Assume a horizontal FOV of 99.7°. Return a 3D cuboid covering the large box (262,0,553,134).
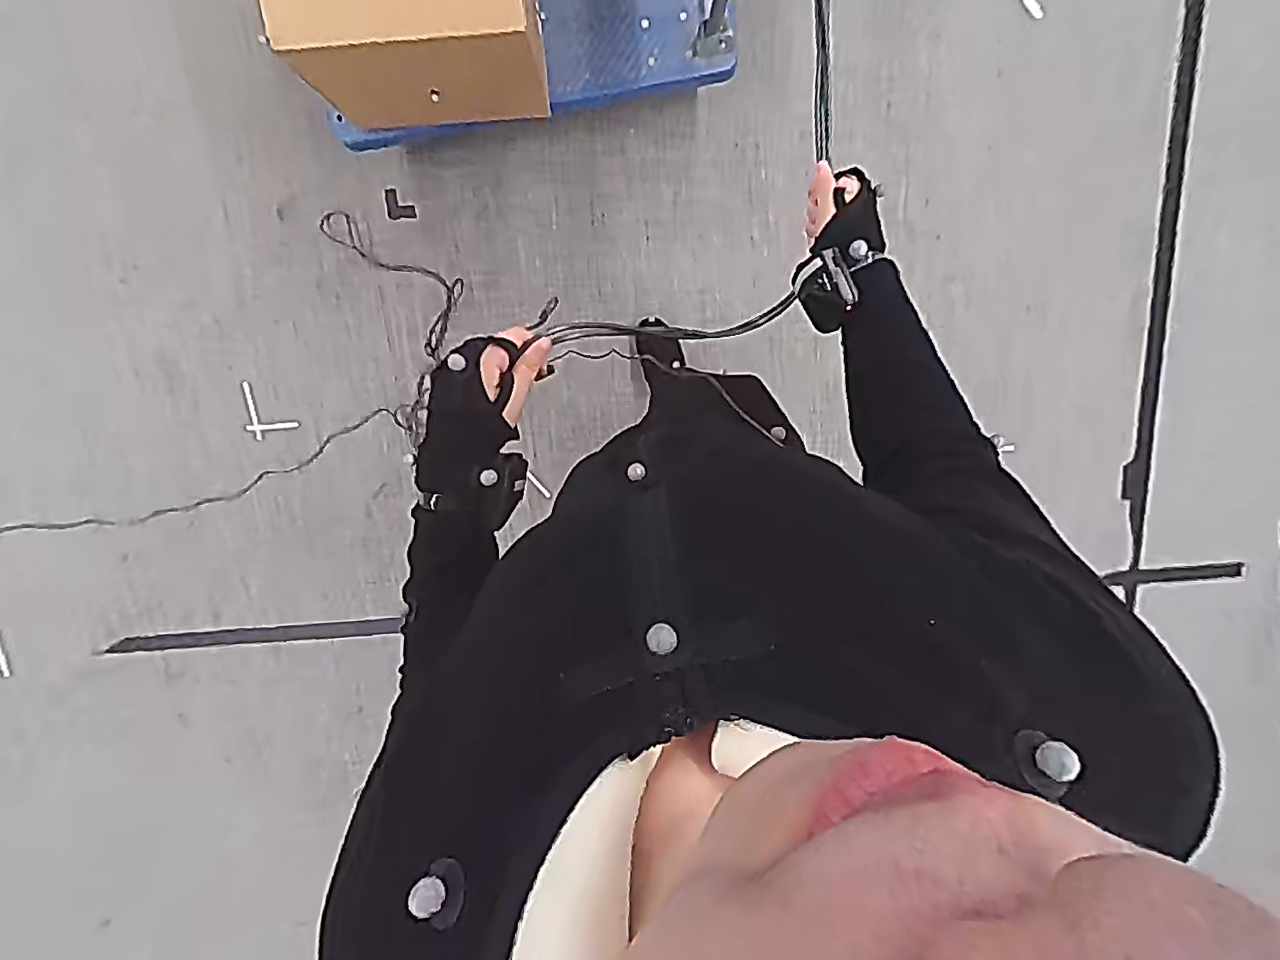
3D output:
[{"bbox_3d":[-0.390,-0.856,0.958,0.408,0.320,0.320,-5,102,0],"label":"large box"}]
